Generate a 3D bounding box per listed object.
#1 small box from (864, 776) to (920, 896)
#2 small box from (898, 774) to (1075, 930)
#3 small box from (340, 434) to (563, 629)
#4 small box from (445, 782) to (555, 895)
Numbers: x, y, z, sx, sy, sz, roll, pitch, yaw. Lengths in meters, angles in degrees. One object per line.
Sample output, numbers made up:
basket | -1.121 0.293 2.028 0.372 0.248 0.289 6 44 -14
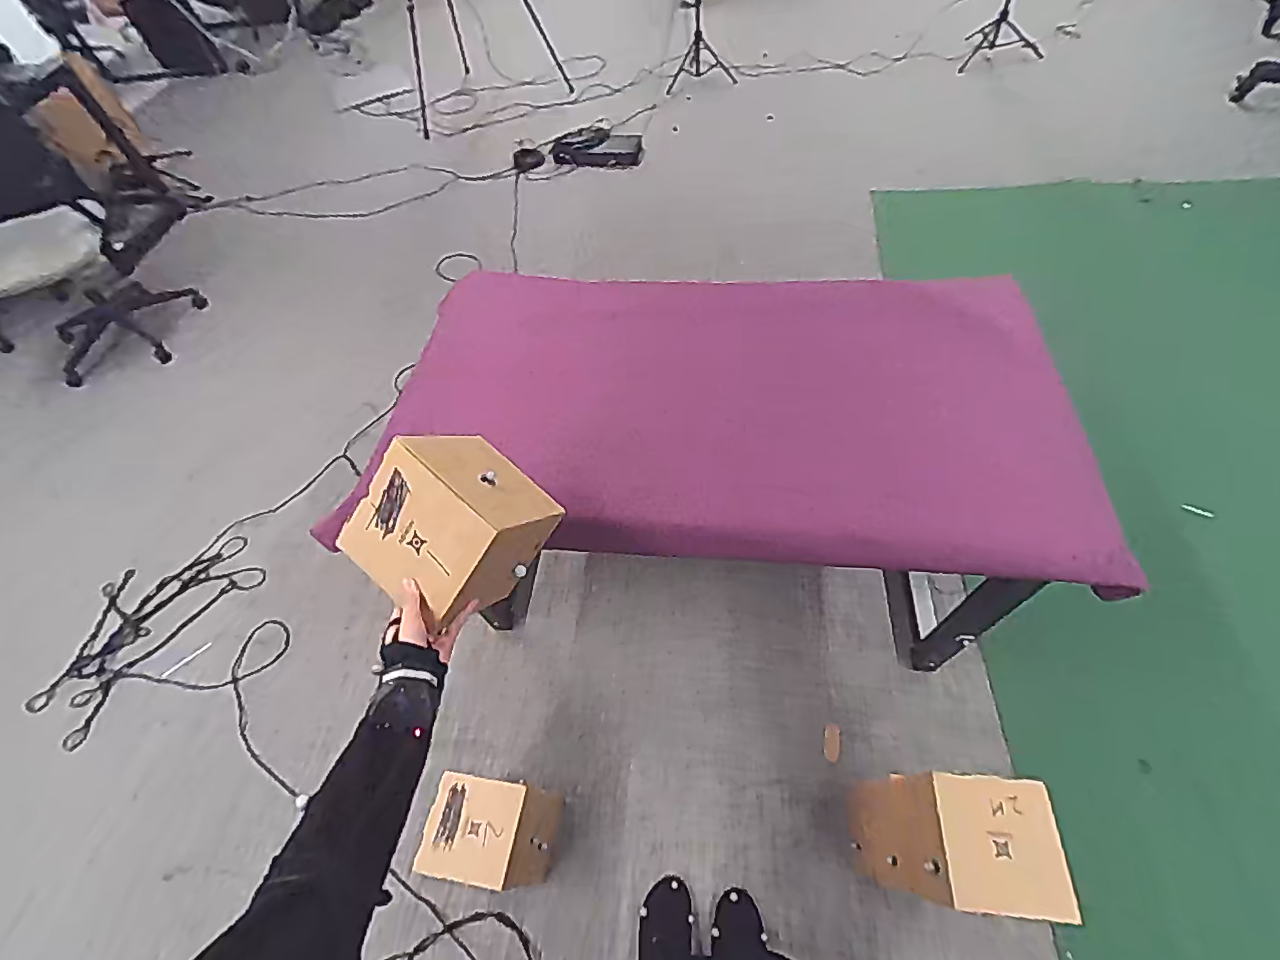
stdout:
small box | 0.527 0.660 0.998 0.168 0.176 0.179 1 57 6
small box | 0.527 0.576 0.854 0.168 0.176 0.179 2 58 7
small box | -0.237 0.058 0.709 0.179 0.176 0.168 40 104 11
small box | -0.297 0.787 1.194 0.168 0.176 0.179 5 57 9
